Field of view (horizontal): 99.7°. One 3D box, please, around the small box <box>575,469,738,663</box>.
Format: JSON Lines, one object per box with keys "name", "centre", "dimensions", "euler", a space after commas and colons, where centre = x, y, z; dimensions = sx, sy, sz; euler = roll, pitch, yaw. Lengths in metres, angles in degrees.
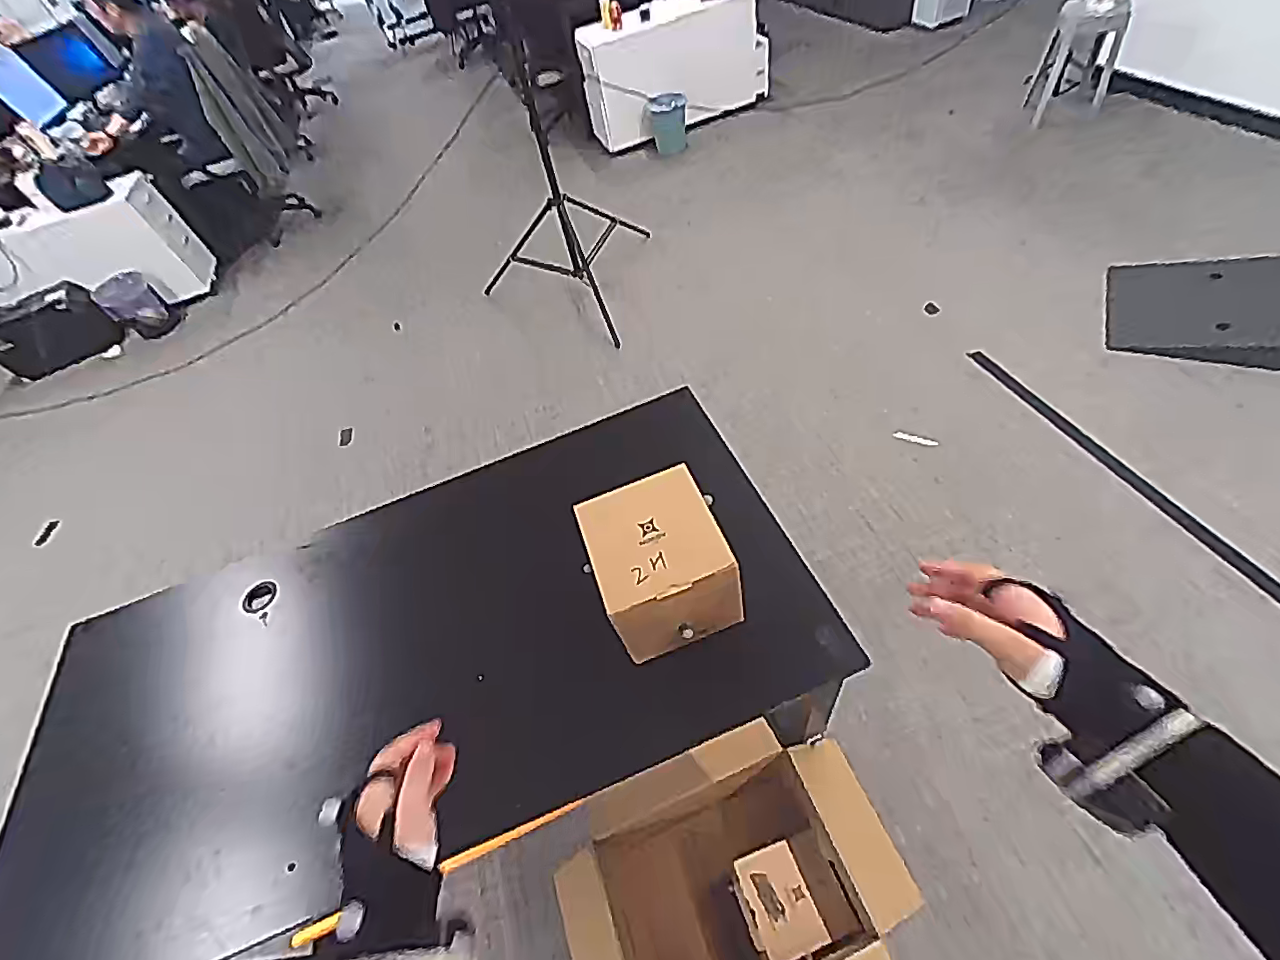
{"name": "small box", "centre": [0.025, 0.121, 0.746], "dimensions": [0.168, 0.176, 0.179], "euler": [-21, 51, -3]}
